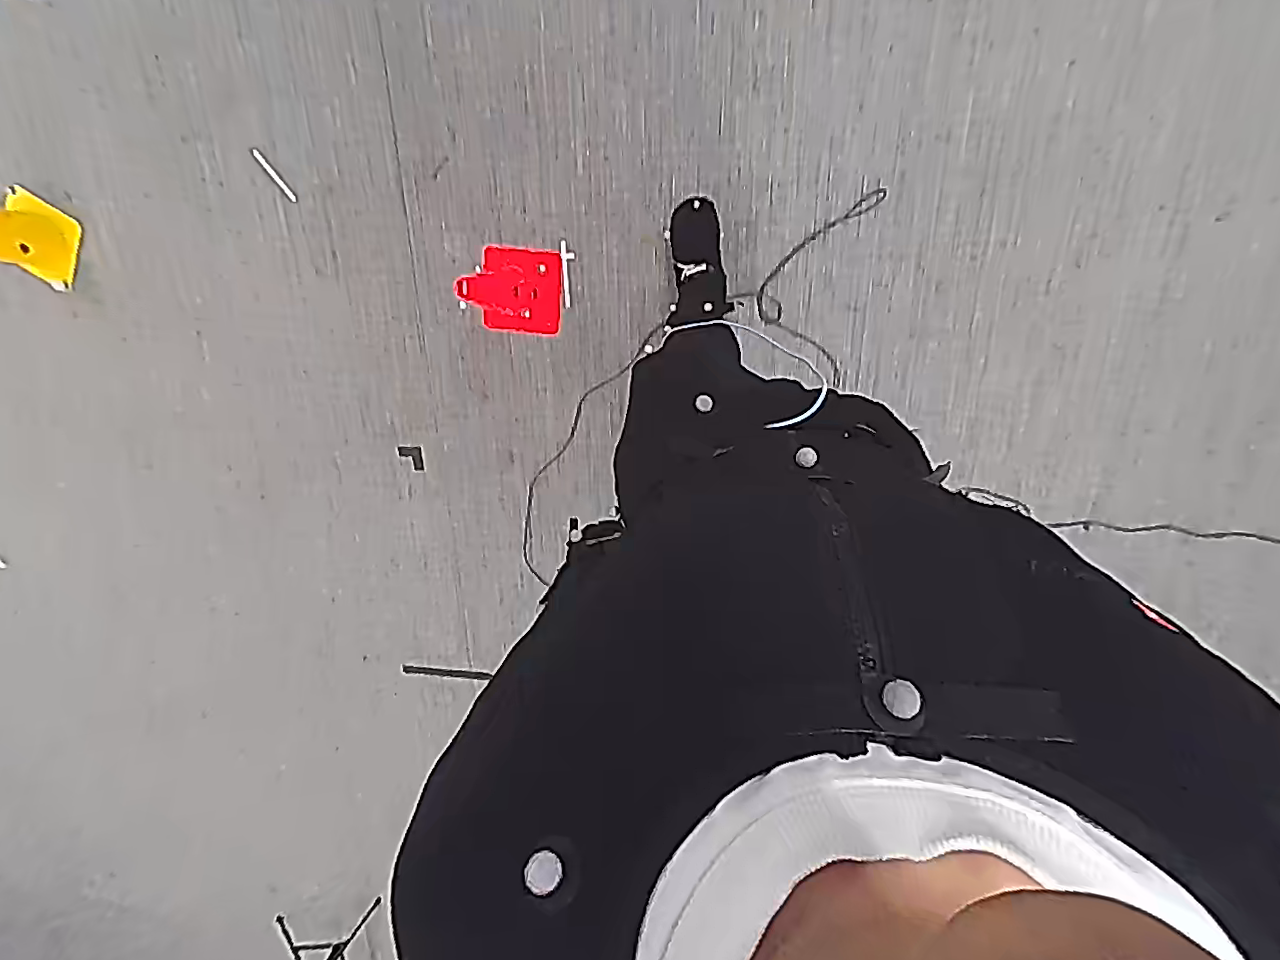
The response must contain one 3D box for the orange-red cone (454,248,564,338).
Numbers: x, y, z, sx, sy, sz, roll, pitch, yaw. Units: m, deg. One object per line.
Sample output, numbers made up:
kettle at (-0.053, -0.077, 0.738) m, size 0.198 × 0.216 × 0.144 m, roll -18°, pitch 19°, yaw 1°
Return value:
orange-red cone at (-0.312, -0.410, 1.177) m, size 0.199 × 0.360 × 0.198 m, roll 8°, pitch 108°, yaw 5°
